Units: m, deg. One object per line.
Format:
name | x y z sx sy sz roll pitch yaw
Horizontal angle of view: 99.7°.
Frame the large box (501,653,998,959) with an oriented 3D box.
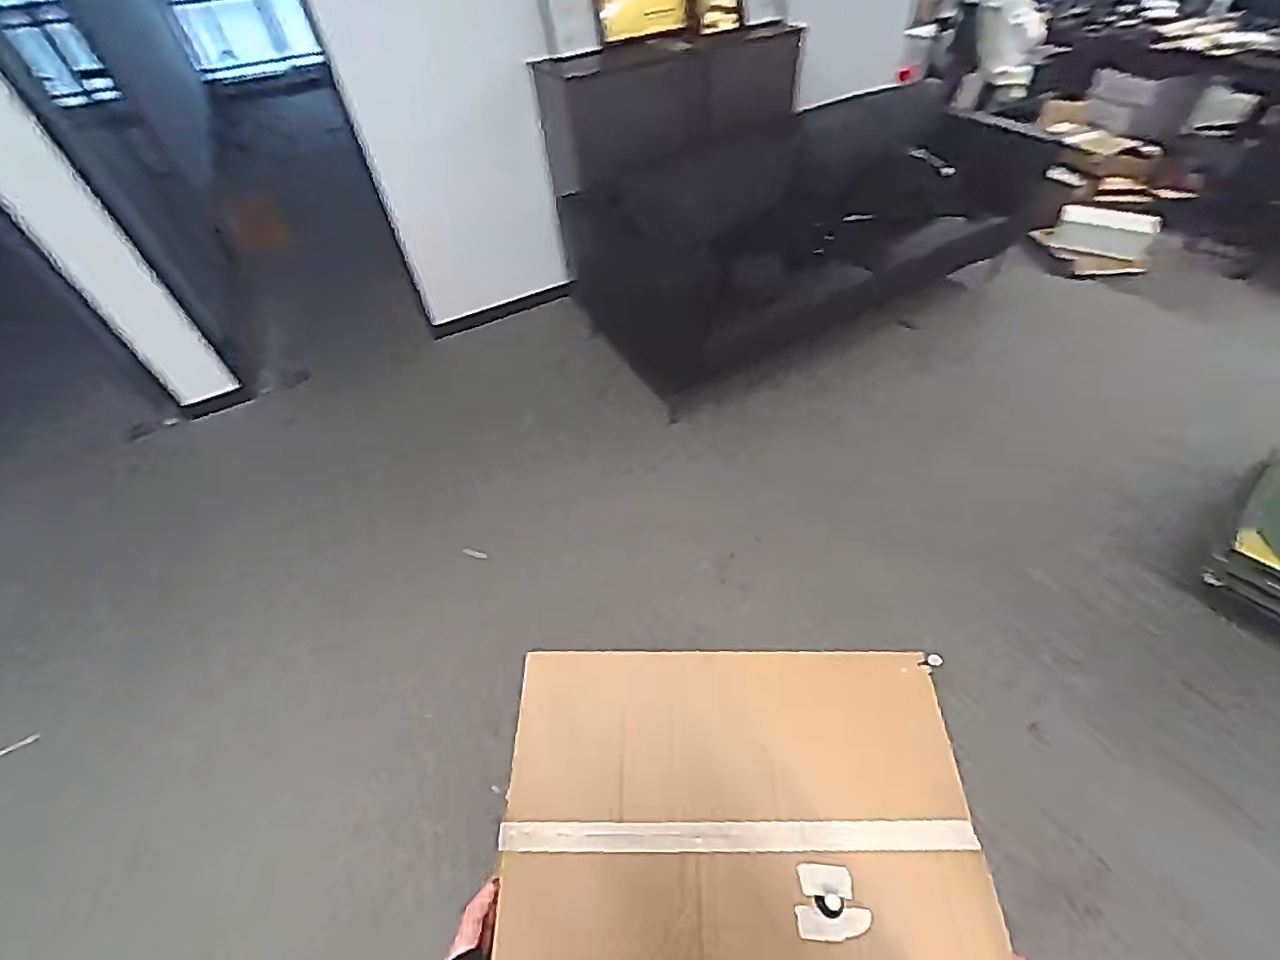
large box | 0.082 0.395 0.597 0.408 0.320 0.320 -1 57 -1
